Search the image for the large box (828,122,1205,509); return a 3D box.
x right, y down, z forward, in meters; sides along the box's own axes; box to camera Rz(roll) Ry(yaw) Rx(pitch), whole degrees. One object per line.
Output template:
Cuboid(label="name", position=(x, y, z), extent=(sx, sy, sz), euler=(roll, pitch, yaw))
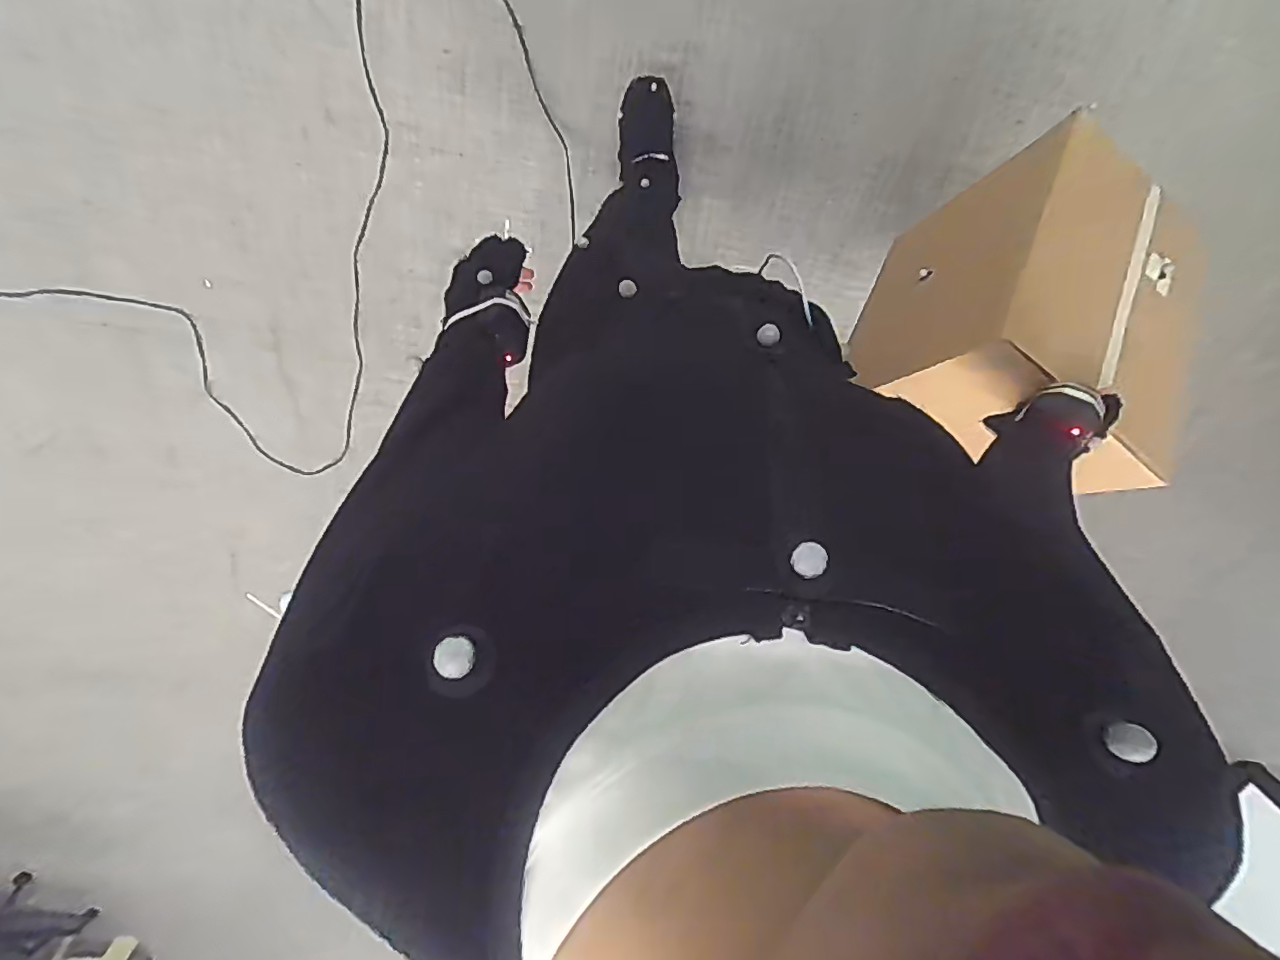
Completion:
Cuboid(label="large box", position=(0.560, -0.211, 0.832), extent=(0.320, 0.320, 0.408), euler=(33, 72, -14))
